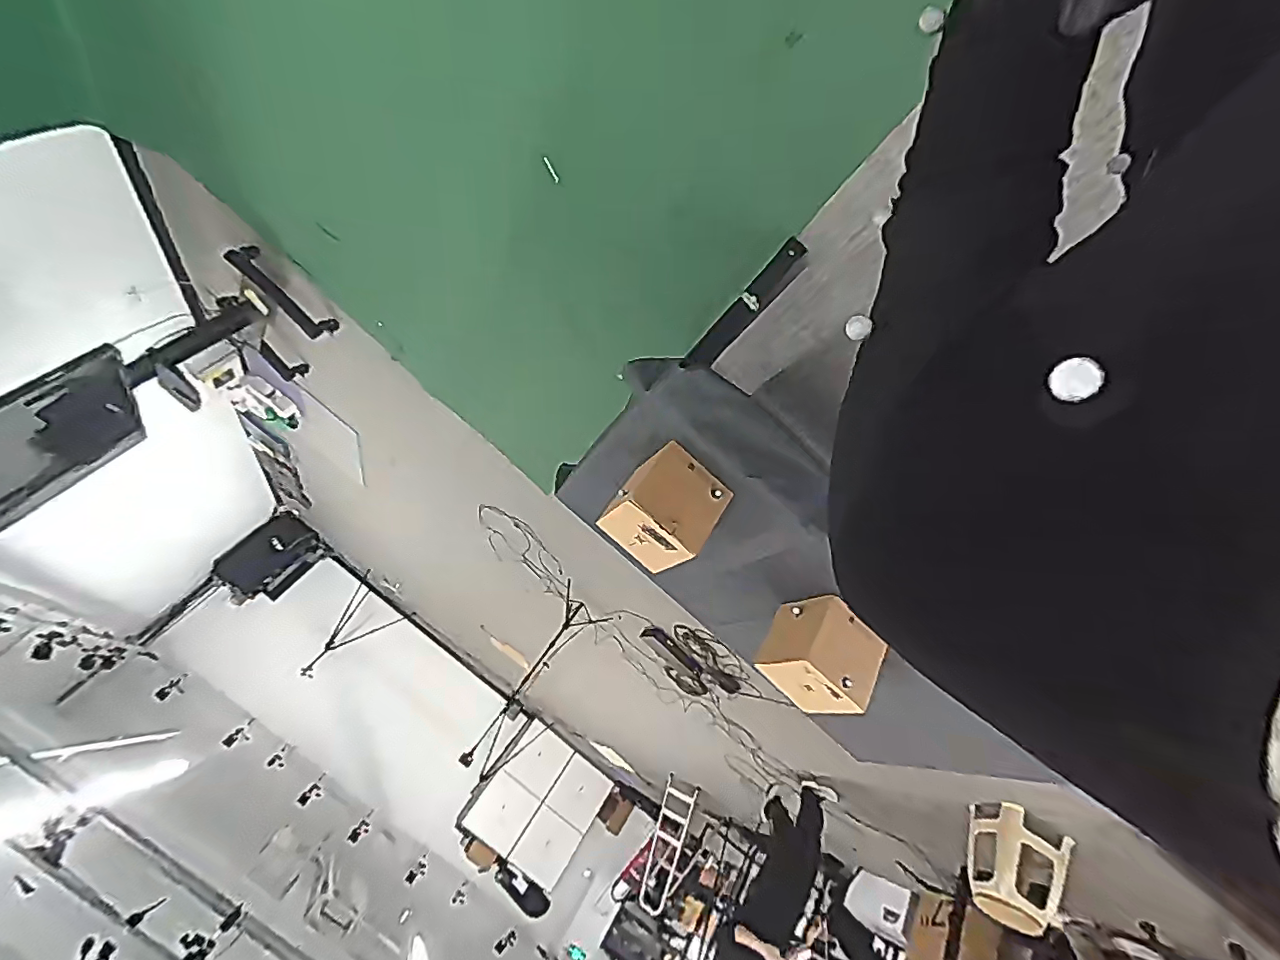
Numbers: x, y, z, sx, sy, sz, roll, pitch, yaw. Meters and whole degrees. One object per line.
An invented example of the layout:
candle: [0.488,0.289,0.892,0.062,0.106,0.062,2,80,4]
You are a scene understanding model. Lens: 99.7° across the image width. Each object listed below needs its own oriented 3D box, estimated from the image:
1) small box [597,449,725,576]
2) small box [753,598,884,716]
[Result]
small box: [0.047,0.065,1.090,0.168,0.176,0.179,42,149,-7]
small box: [0.382,0.375,1.152,0.168,0.176,0.179,42,148,-6]
